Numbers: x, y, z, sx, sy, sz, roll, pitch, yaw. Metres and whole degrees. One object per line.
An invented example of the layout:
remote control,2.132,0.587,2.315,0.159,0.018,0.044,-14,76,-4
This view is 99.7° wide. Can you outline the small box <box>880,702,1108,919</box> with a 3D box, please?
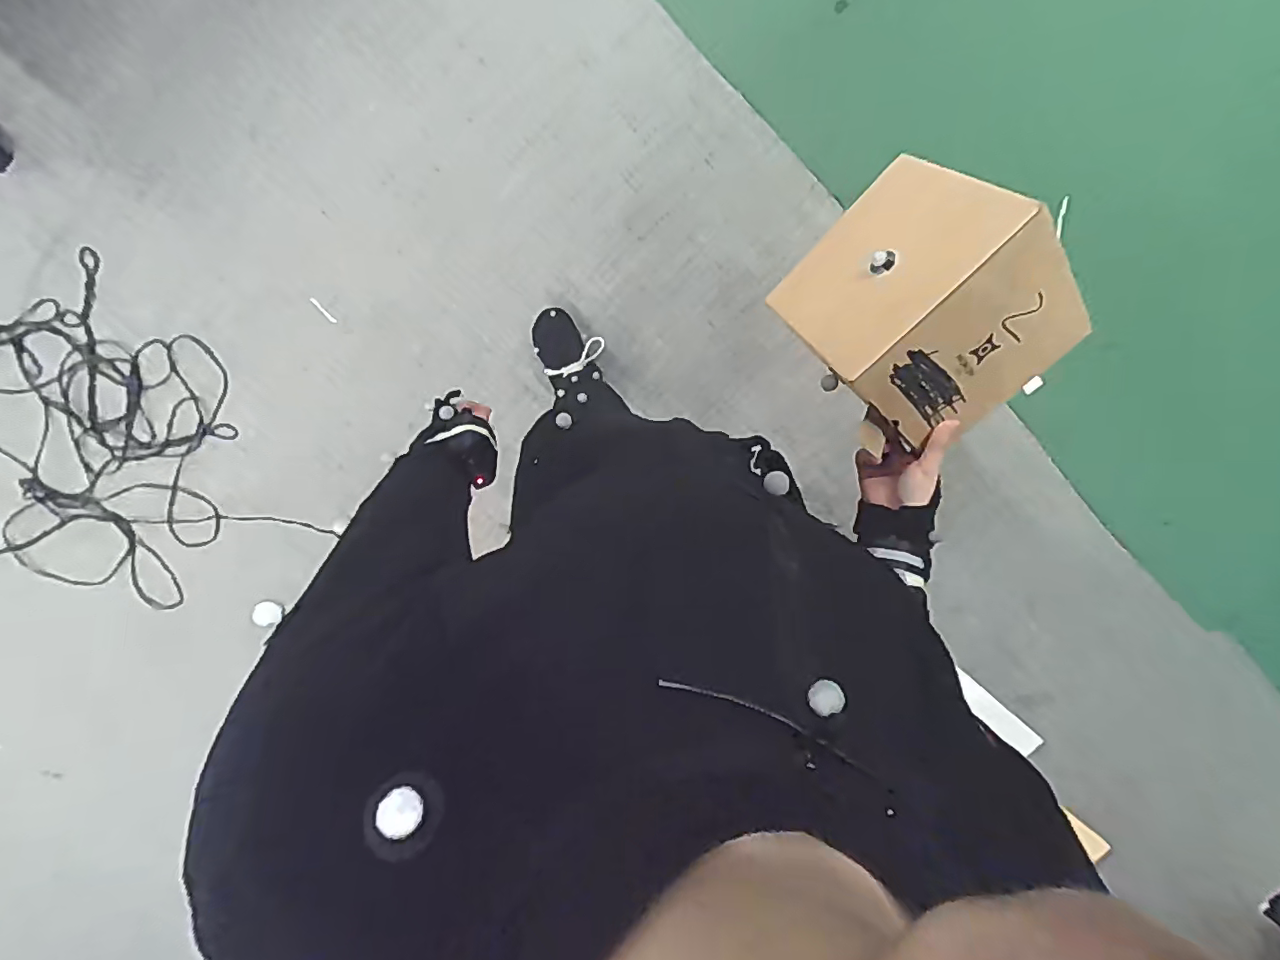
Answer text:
small box,0.494,0.464,0.782,0.179,0.176,0.168,39,99,-7
